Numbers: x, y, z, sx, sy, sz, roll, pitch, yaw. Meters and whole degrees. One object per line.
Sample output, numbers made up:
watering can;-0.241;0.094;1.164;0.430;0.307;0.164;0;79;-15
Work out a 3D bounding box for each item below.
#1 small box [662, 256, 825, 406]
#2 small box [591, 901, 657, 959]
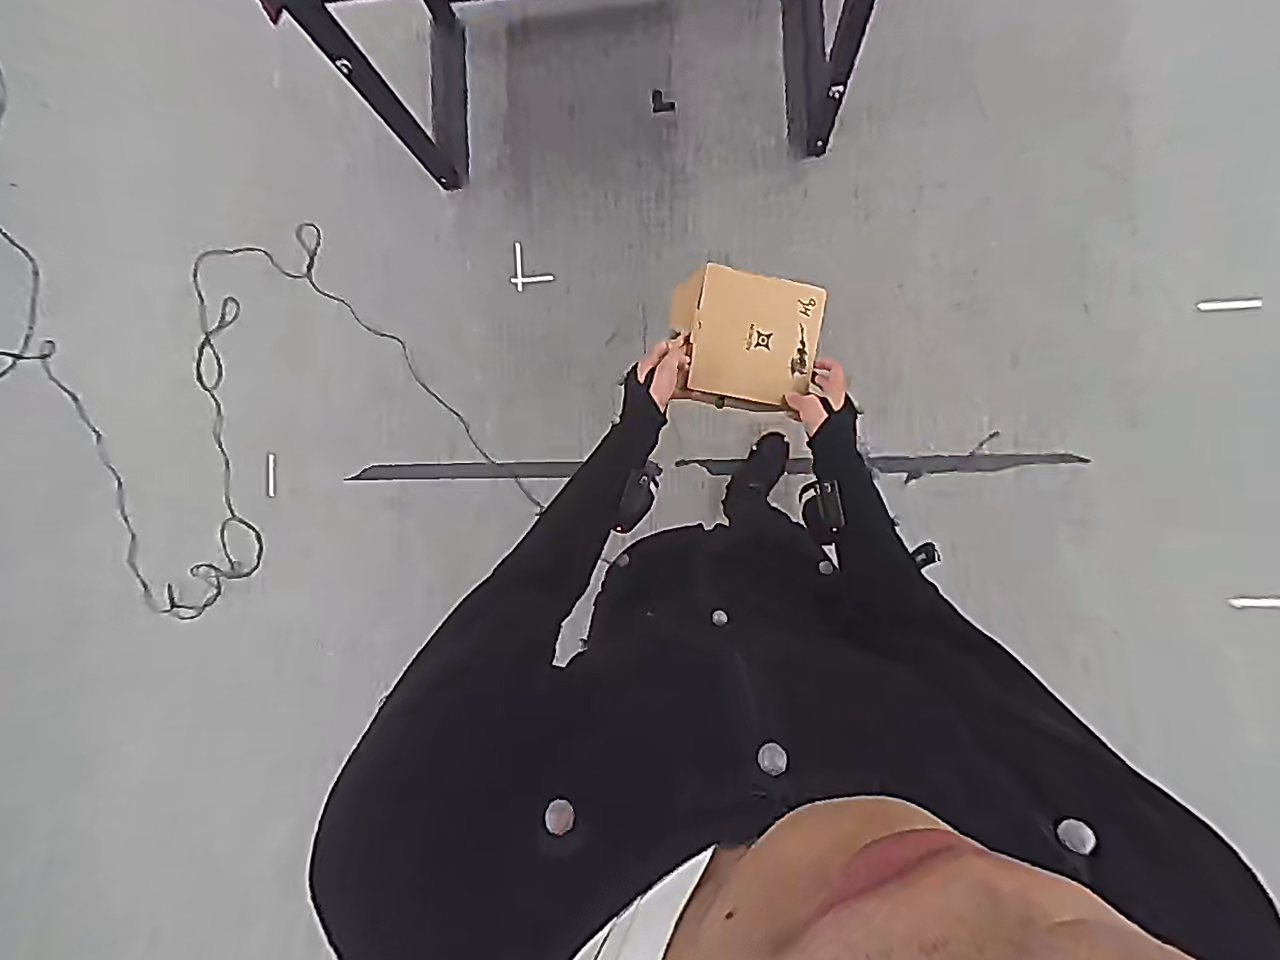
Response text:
small box;0.139;-0.204;0.793;0.179;0.176;0.168;8;94;-10
small box;-0.041;1.331;1.510;0.168;0.176;0.179;-2;86;6
